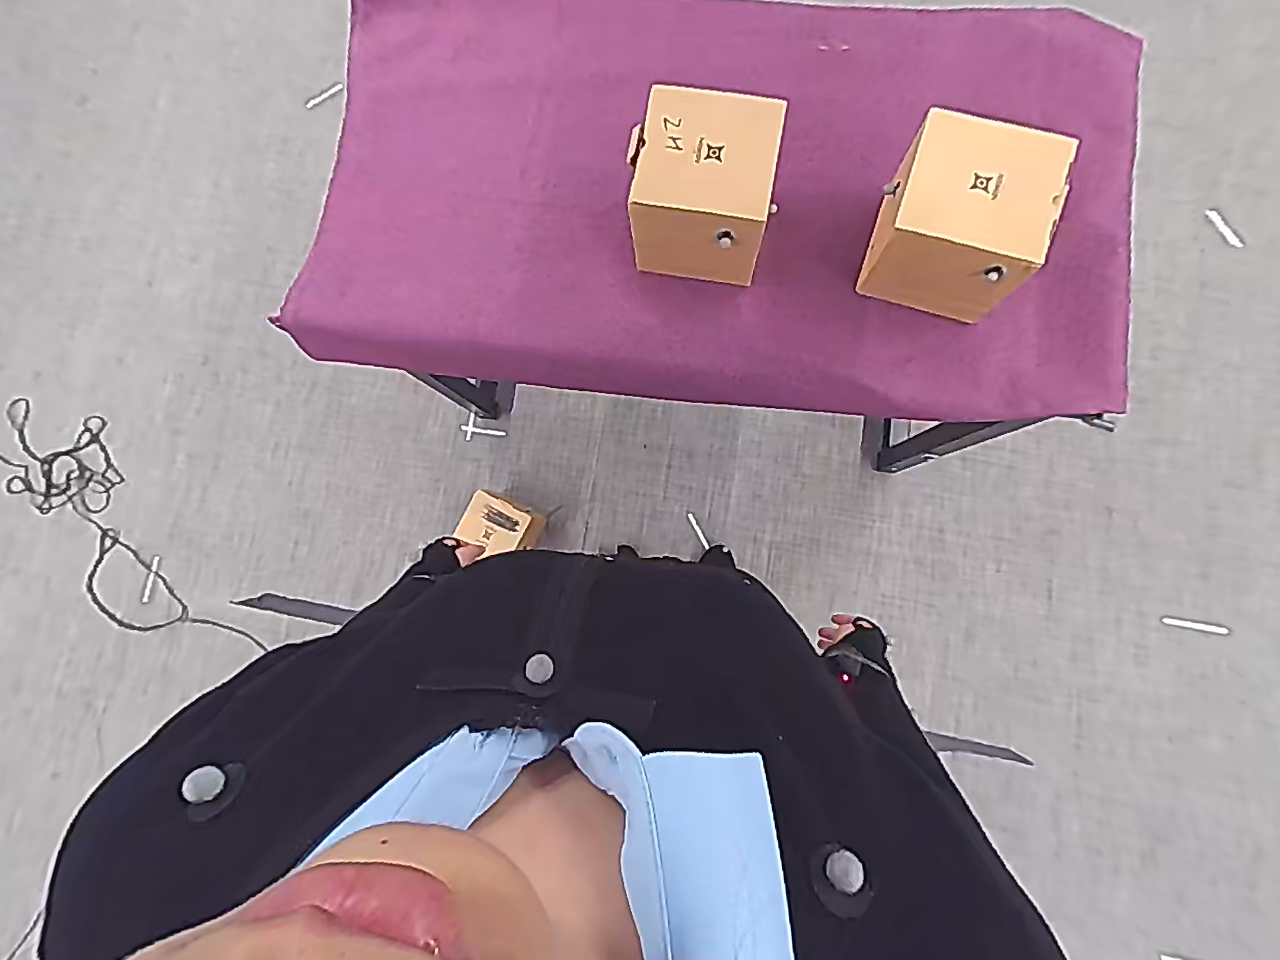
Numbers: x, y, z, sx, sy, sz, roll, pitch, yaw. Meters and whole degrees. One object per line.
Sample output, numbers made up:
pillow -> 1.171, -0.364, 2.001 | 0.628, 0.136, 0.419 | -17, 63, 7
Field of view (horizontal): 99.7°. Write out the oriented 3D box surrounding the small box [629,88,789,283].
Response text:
small box -> 0.092, -0.395, 0.753 | 0.179, 0.176, 0.168 | 10, 83, 6

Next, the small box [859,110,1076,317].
small box -> 0.416, -0.340, 0.720 | 0.179, 0.176, 0.168 | 18, 85, 7
